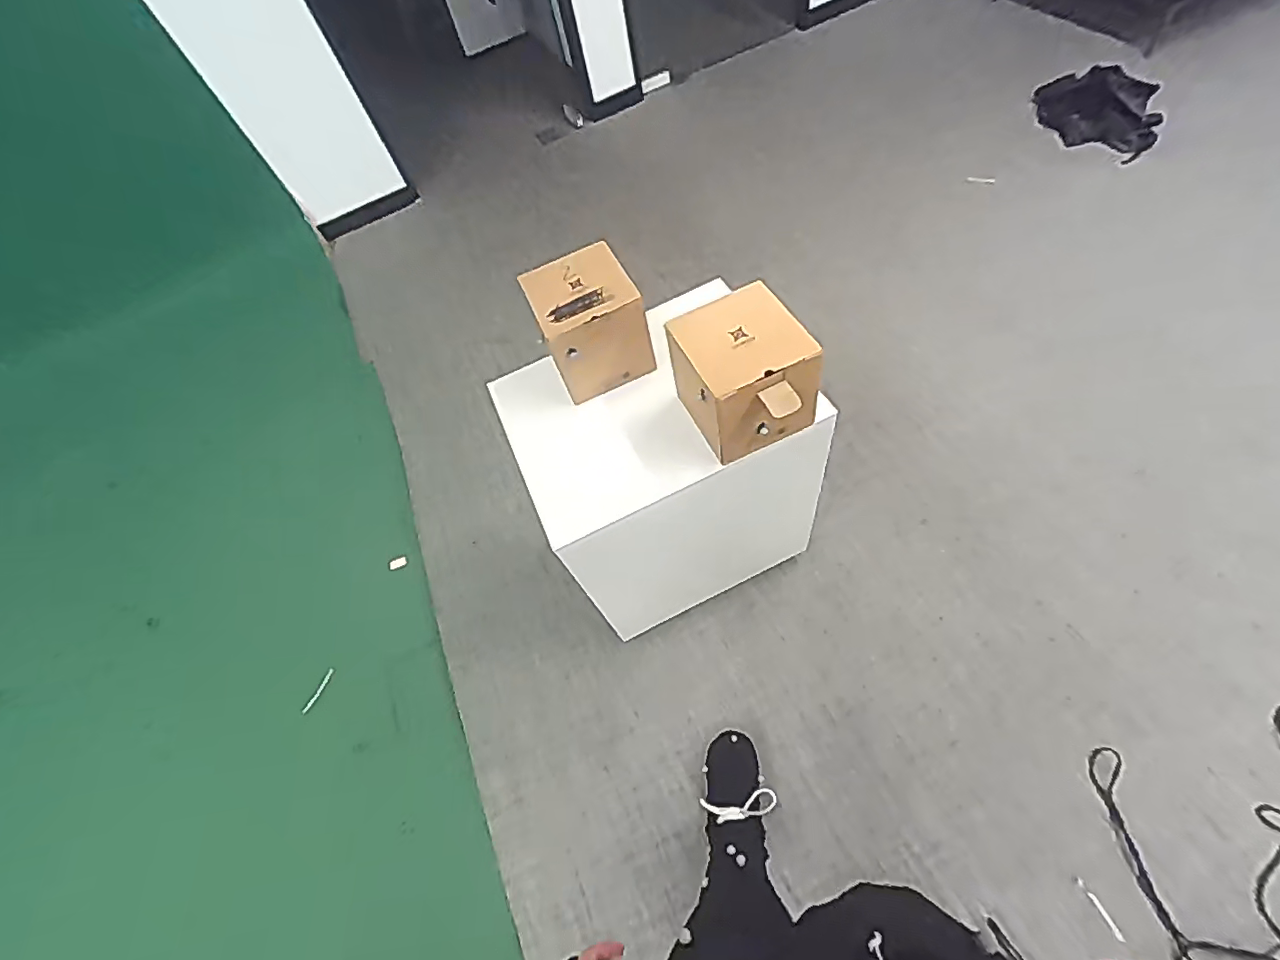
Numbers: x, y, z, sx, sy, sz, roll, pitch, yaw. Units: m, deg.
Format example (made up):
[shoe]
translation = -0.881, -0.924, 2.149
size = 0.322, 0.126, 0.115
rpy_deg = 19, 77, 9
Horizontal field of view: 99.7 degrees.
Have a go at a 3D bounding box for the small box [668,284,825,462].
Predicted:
[small box]
translation = 0.158, -0.161, 0.835
size = 0.168, 0.176, 0.179
rpy_deg = -25, 57, -4
